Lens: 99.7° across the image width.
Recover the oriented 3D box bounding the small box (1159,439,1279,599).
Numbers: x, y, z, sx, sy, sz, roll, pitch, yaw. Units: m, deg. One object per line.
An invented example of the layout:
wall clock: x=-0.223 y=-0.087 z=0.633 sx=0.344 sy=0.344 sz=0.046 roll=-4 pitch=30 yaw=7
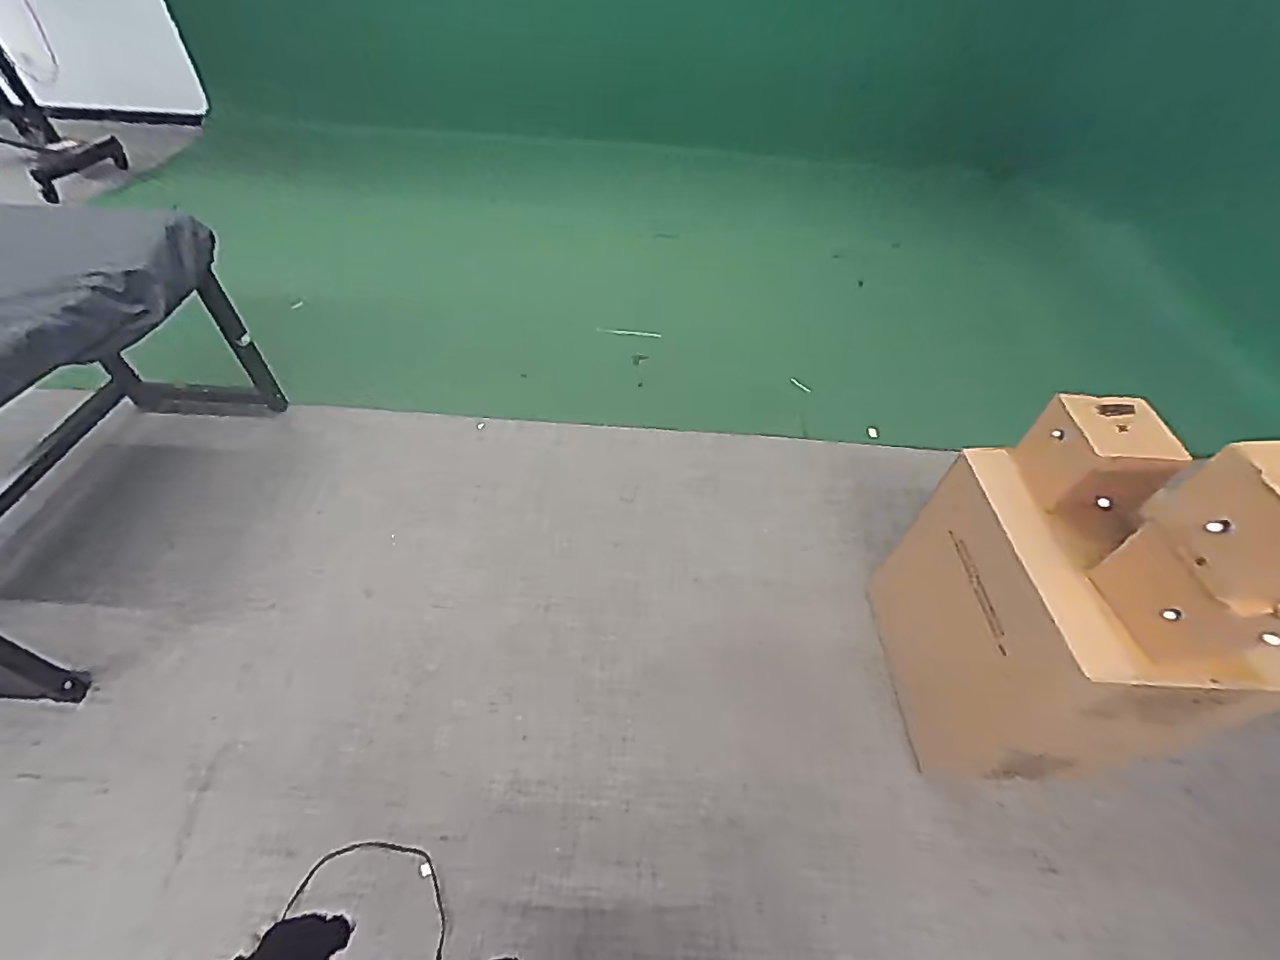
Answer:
small box: x=0.907 y=0.057 z=0.767 sx=0.179 sy=0.176 sz=0.168 roll=-2 pitch=49 yaw=-2

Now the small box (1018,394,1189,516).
small box: x=0.906 y=-0.050 z=1.082 sx=0.168 sy=0.176 sz=0.179 roll=3 pitch=49 yaw=4

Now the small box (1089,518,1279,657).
small box: x=0.907 y=0.174 z=0.882 sx=0.168 sy=0.176 sz=0.179 roll=-4 pitch=47 yaw=-5
